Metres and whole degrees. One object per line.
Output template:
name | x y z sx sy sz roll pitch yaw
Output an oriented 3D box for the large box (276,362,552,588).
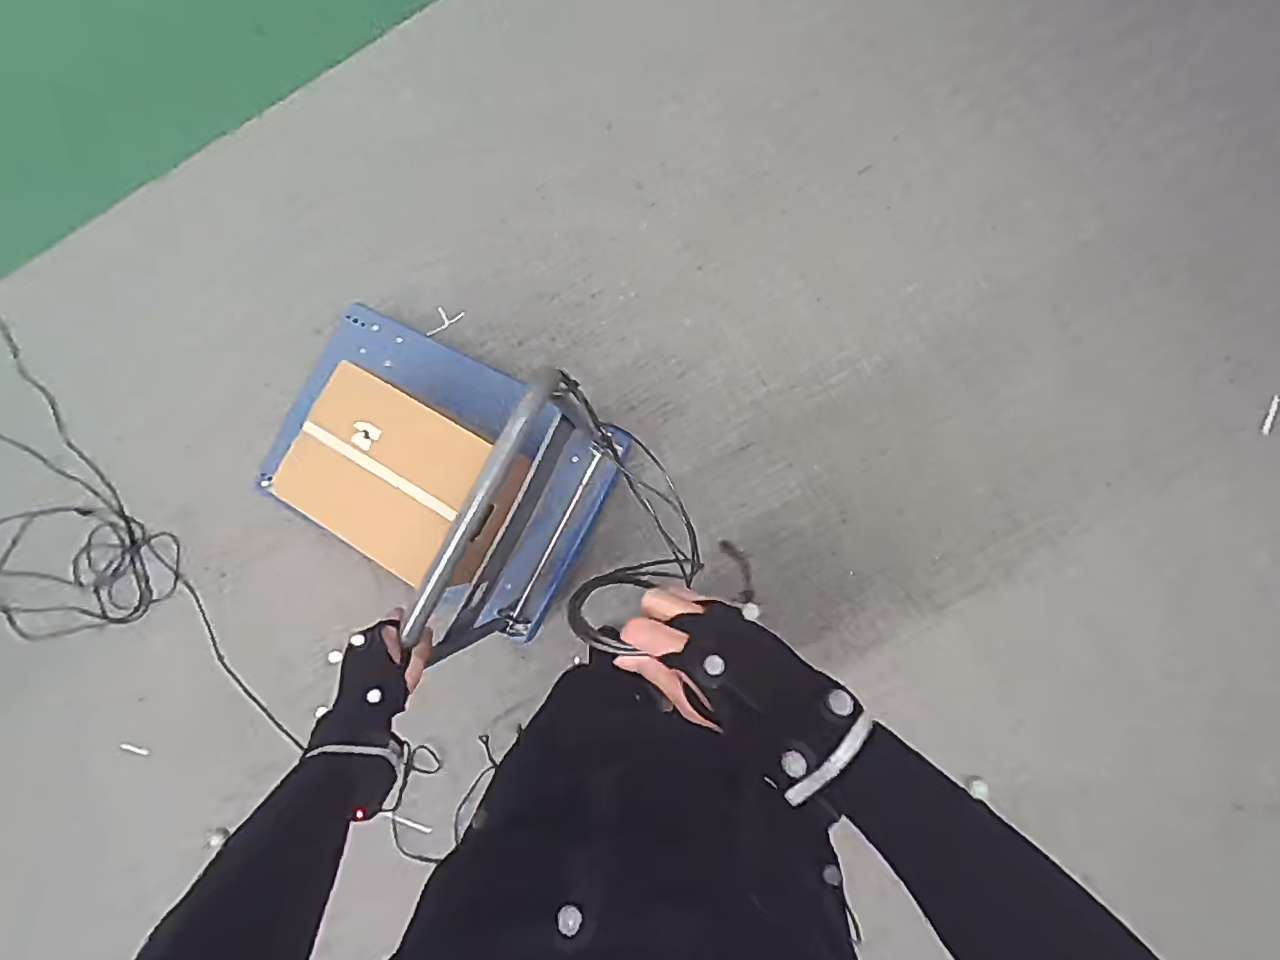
large box | -0.473 -0.001 1.206 0.408 0.320 0.320 30 88 11
